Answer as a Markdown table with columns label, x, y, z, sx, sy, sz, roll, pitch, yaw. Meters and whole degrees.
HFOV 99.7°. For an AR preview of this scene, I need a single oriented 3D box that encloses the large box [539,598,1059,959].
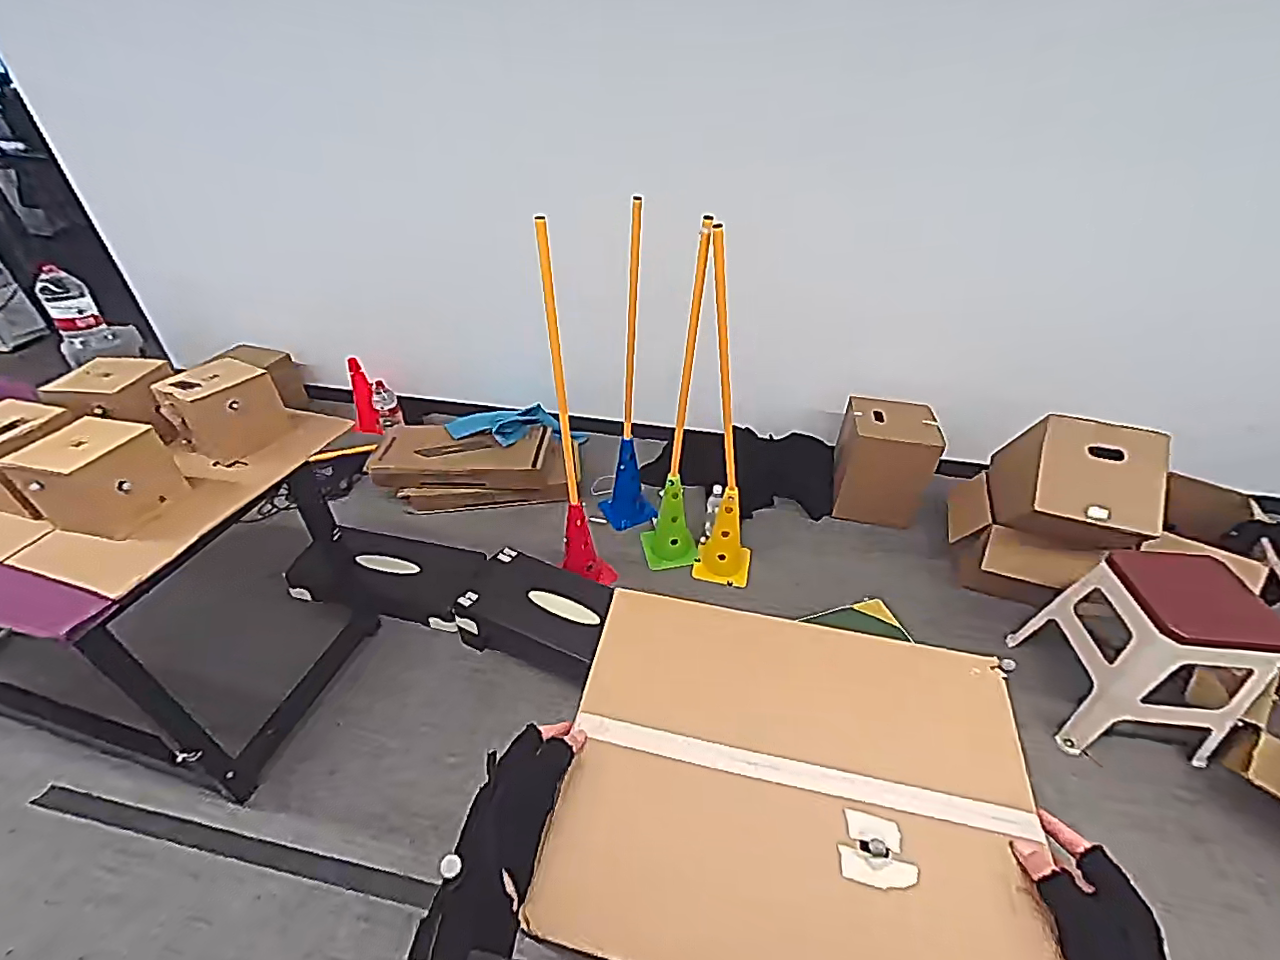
| label | x | y | z | sx | sy | sz | roll | pitch | yaw |
| --- | --- | --- | --- | --- | --- | --- | --- | --- | --- |
| large box | 0.143 | 0.374 | 0.604 | 0.408 | 0.320 | 0.320 | 9 | 47 | 10 |
